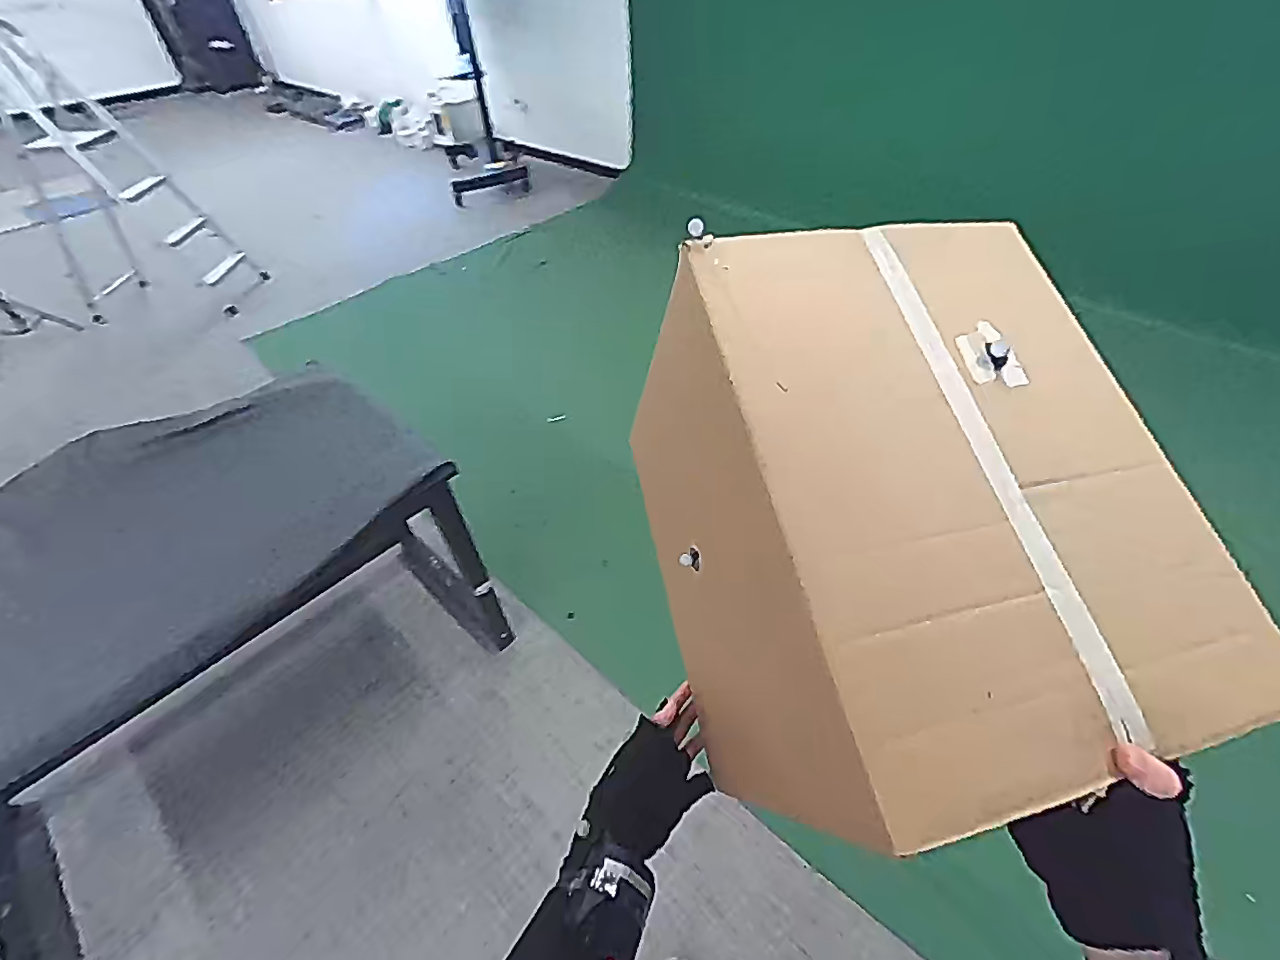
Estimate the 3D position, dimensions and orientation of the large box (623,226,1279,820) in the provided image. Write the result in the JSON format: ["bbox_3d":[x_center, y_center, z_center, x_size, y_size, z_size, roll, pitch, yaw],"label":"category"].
[{"bbox_3d":[0.188,0.036,0.510,0.320,0.320,0.408,-9,66,-14],"label":"large box"}]
